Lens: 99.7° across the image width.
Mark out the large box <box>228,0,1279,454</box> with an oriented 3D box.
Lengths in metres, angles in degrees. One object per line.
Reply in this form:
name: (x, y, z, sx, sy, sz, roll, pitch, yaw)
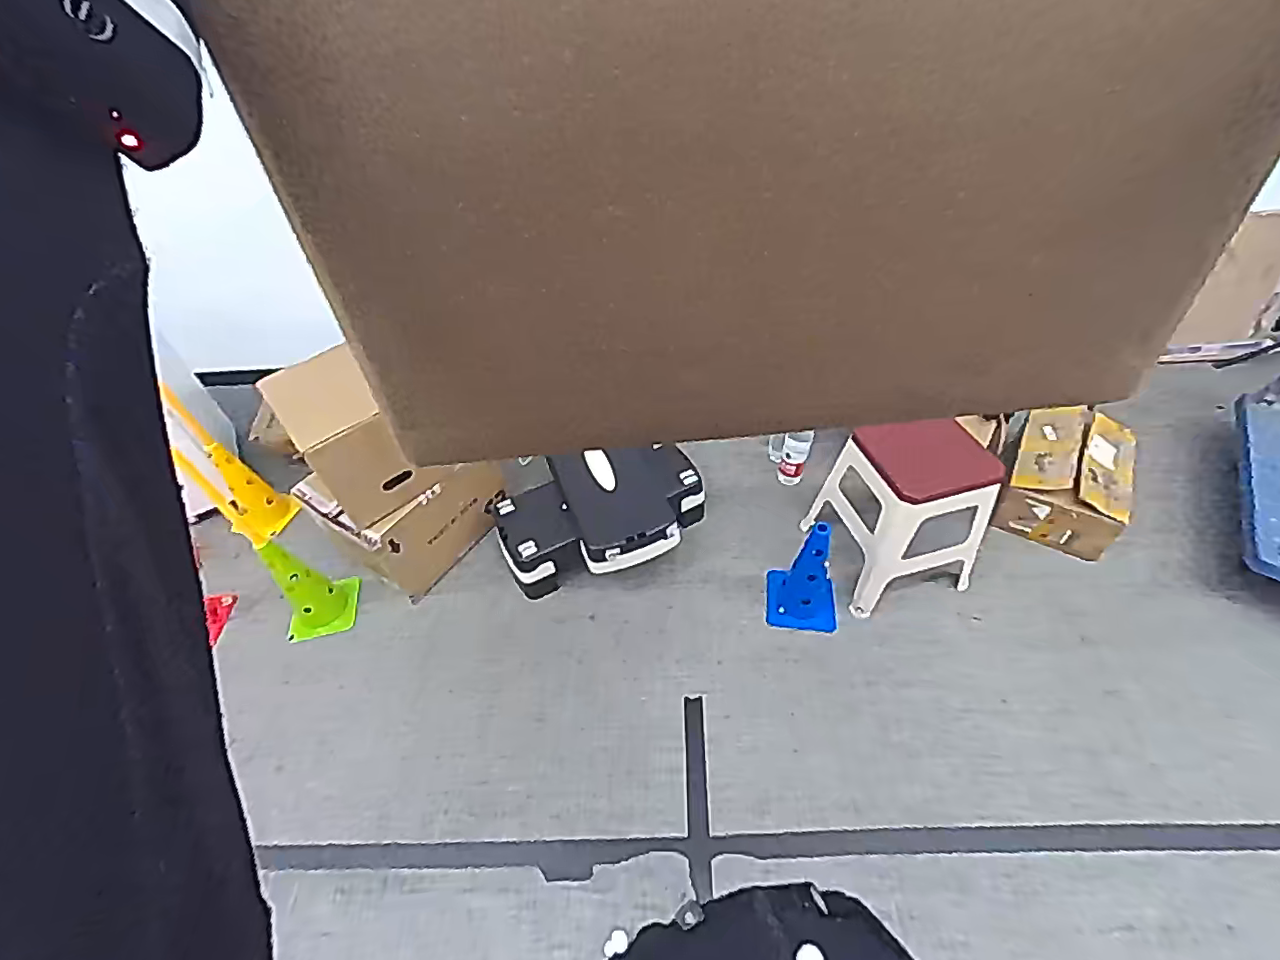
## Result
large box: (0.047, -0.239, 0.328, 0.408, 0.320, 0.320, -5, 41, 0)
